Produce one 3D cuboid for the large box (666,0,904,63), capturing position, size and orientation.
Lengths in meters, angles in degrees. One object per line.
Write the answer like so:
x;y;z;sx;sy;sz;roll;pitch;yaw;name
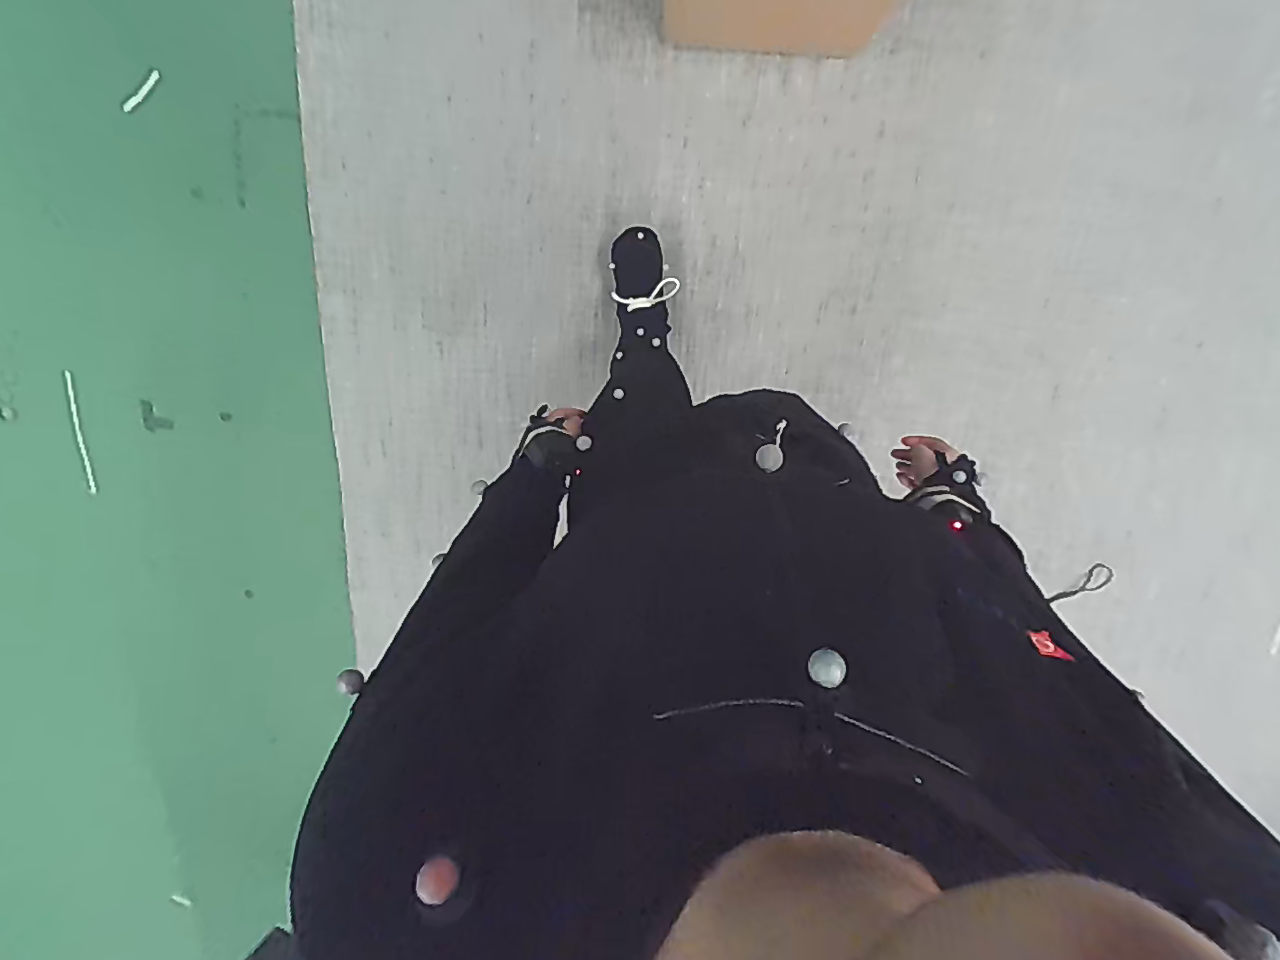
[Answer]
0.254;-0.972;0.933;0.408;0.320;0.320;2;107;0;large box
